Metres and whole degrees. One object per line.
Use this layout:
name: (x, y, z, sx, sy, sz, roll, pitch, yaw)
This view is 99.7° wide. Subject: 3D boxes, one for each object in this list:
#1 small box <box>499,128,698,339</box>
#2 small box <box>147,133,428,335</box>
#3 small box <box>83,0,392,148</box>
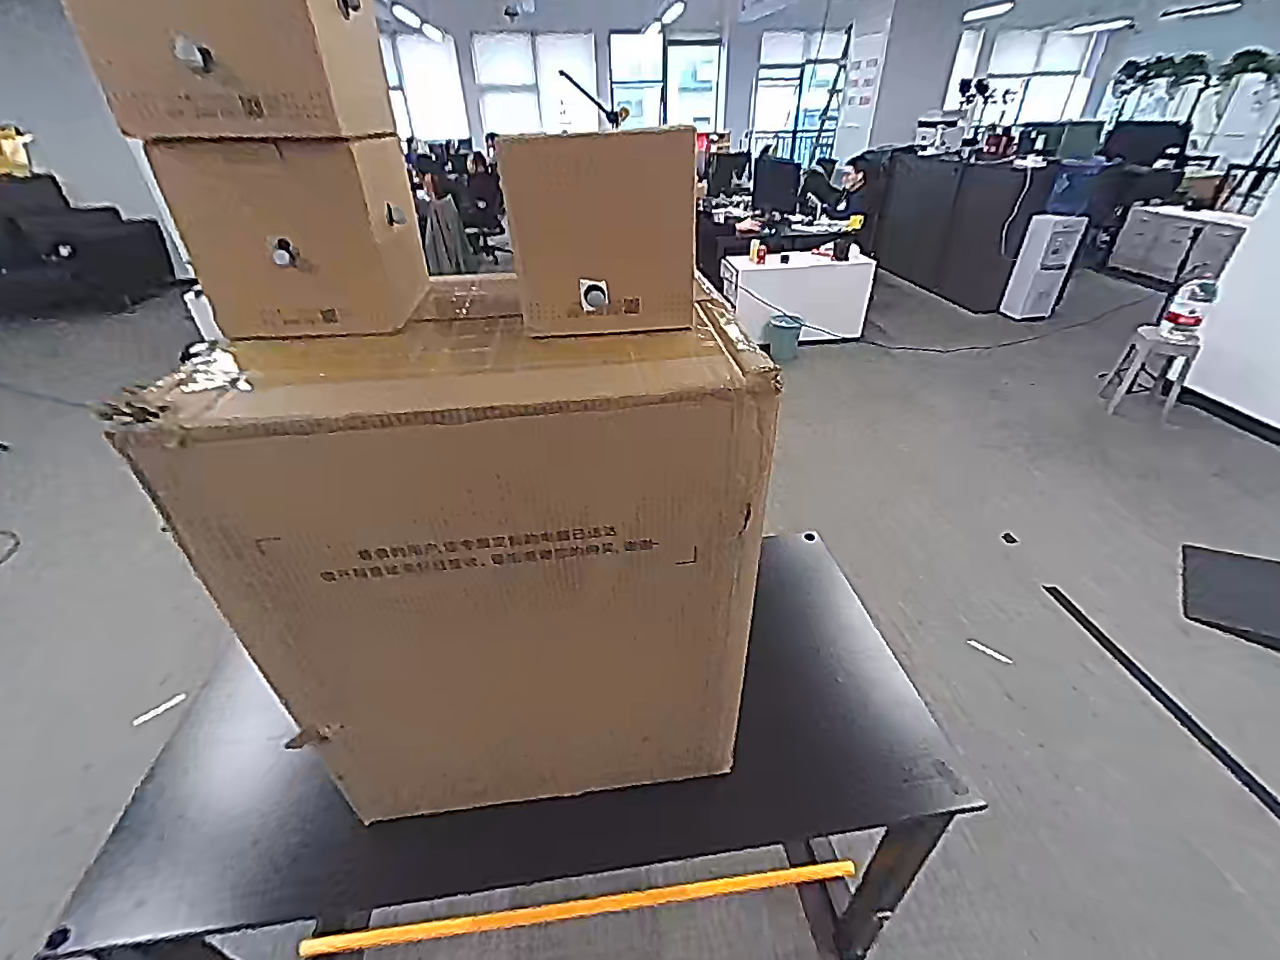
small box: (-0.037, -0.254, 0.552, 0.168, 0.176, 0.179, -6, 35, -2)
small box: (-0.332, -0.255, 0.560, 0.168, 0.176, 0.179, -4, 35, -6)
small box: (-0.327, -0.384, 0.454, 0.168, 0.176, 0.179, -3, 34, -5)
